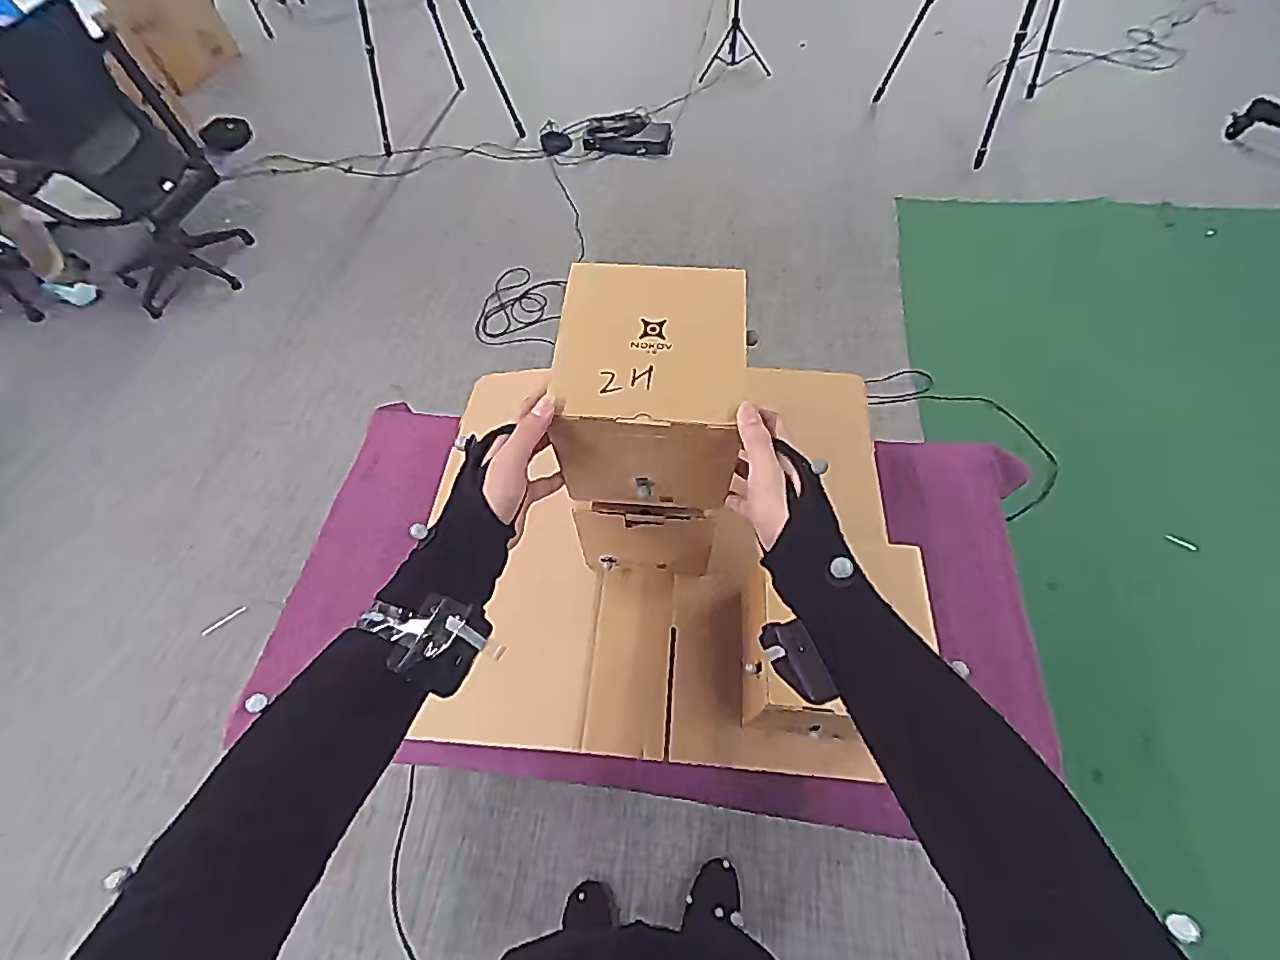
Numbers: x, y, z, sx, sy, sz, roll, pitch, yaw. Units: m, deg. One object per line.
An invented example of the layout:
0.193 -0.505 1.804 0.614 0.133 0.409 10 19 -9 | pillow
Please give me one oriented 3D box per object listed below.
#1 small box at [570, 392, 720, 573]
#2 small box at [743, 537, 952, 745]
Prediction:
0.013 0.009 0.703 0.168 0.176 0.179 4 58 3 | small box
0.206 0.182 0.597 0.168 0.176 0.179 4 60 4 | small box
